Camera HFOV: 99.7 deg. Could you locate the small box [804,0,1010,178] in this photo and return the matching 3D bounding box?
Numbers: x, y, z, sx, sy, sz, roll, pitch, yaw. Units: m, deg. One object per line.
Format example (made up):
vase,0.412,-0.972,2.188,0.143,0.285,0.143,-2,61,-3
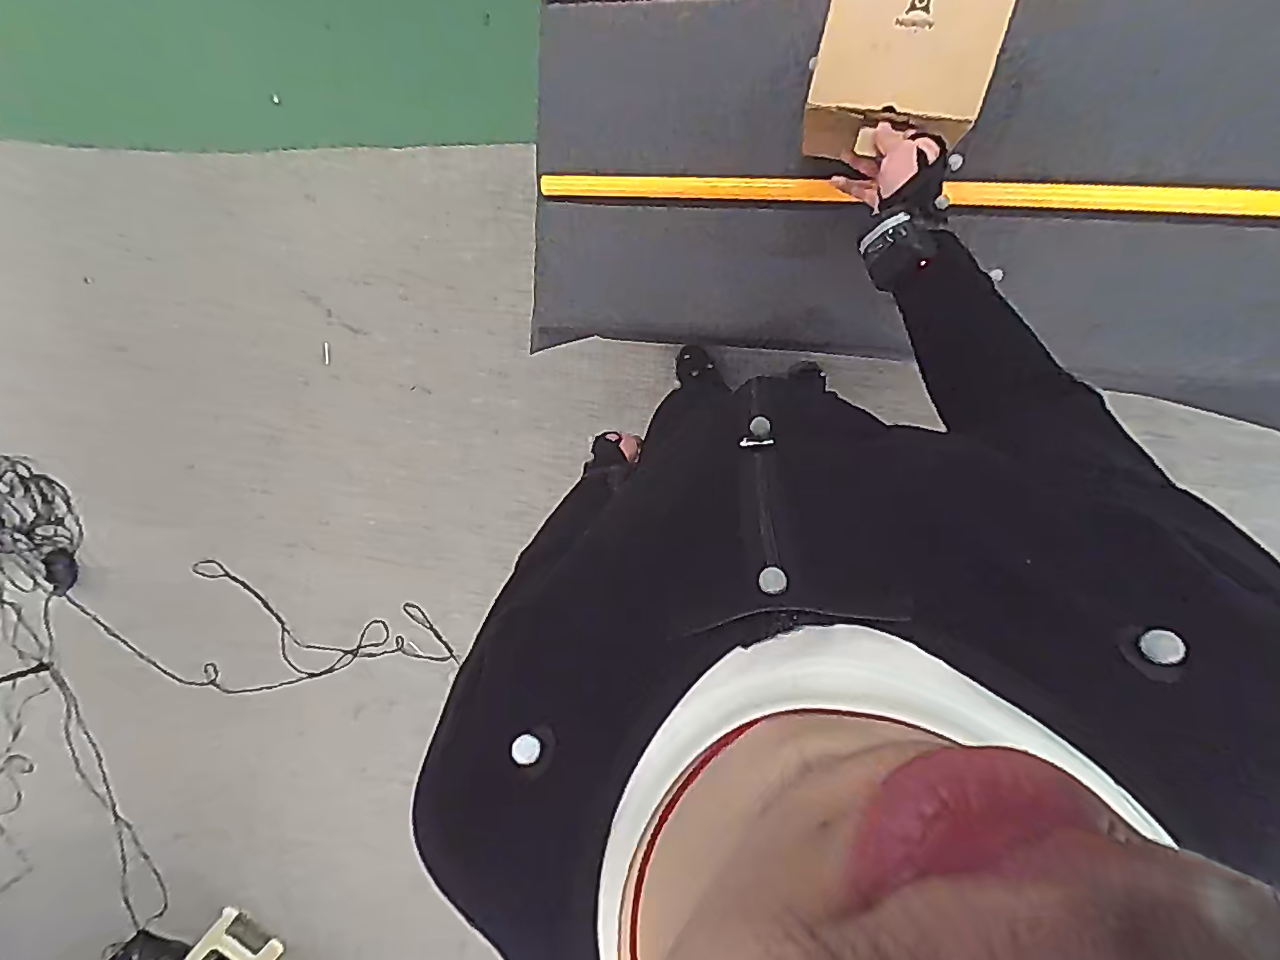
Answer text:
small box,0.290,-0.458,0.608,0.168,0.176,0.179,13,108,14
